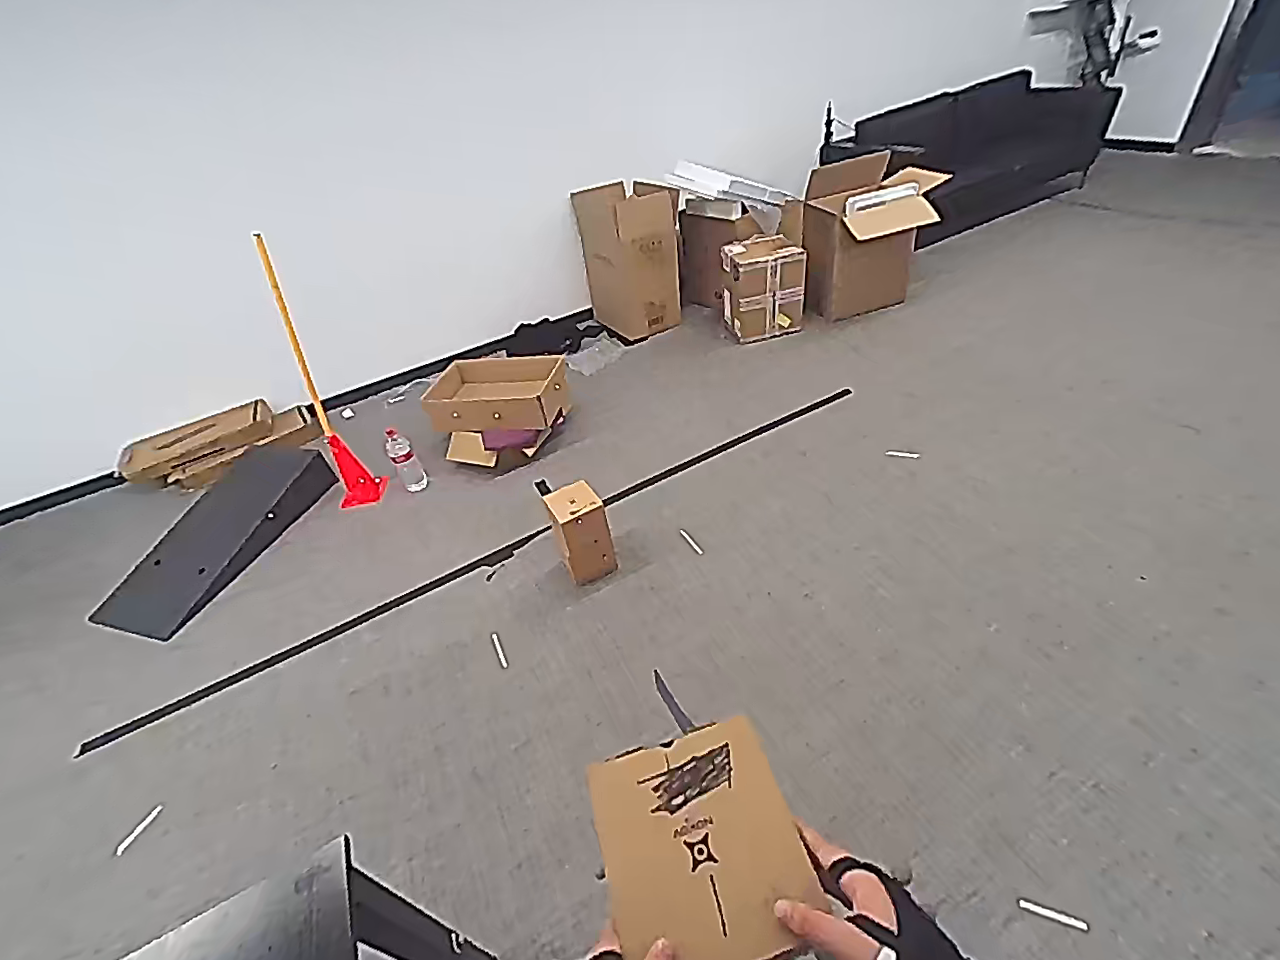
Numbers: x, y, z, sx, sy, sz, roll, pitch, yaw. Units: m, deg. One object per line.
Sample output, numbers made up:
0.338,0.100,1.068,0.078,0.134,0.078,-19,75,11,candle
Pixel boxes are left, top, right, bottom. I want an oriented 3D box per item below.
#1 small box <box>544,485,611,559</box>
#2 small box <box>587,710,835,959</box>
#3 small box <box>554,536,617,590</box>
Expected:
-0.222,0.151,1.938,0.168,0.176,0.179,-25,39,-18,small box
0.057,0.359,0.515,0.168,0.176,0.179,-16,45,-8,small box
-0.200,0.278,2.040,0.179,0.176,0.168,-25,40,-16,small box
